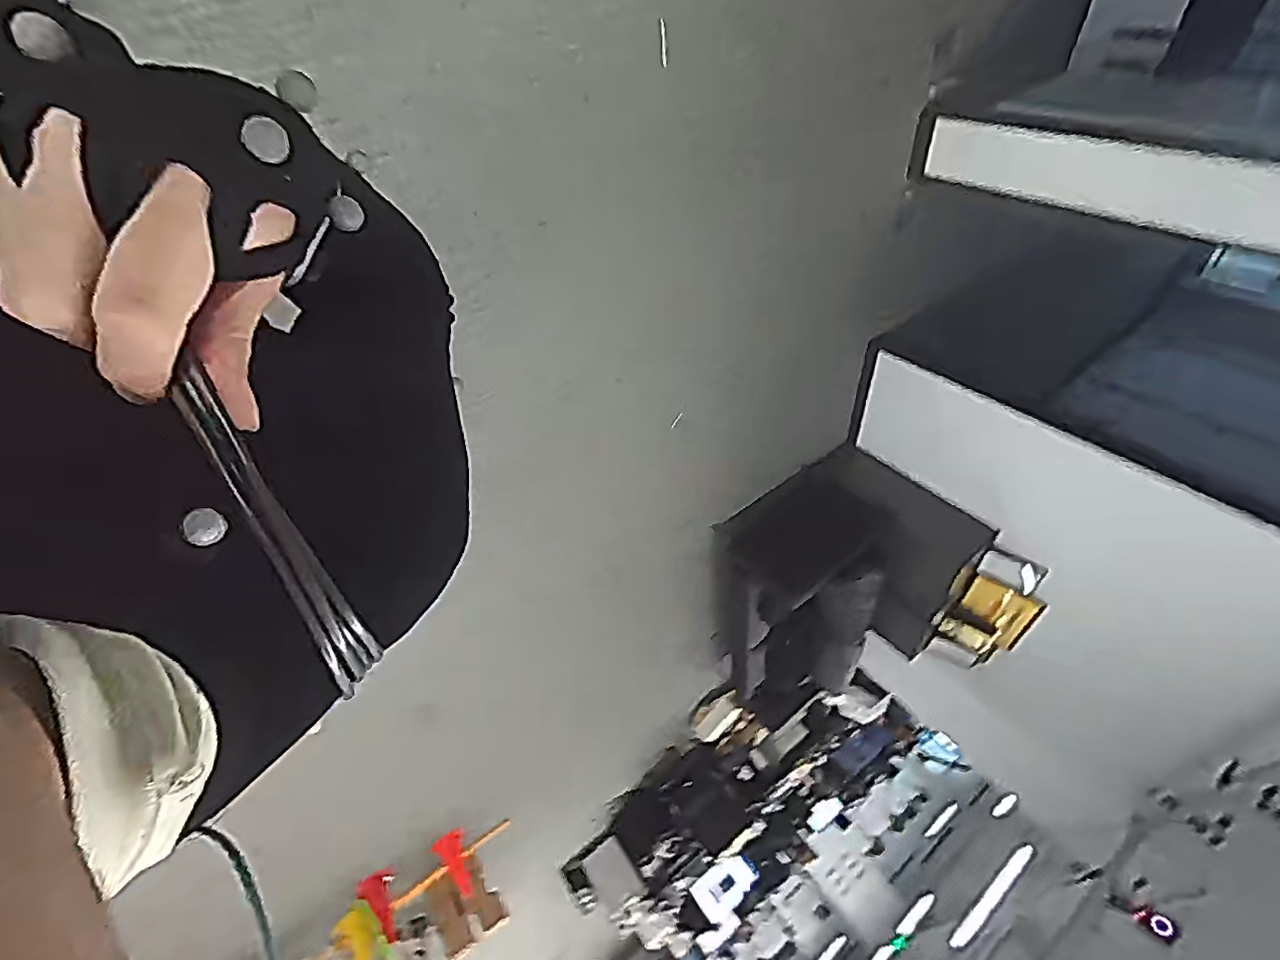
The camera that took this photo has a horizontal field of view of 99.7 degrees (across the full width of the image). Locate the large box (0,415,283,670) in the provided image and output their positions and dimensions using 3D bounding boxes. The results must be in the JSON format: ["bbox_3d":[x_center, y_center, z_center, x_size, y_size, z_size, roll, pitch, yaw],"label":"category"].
[{"bbox_3d":[-1.093,0.139,1.171,0.320,0.320,0.408,-39,143,-13],"label":"large box"}]
